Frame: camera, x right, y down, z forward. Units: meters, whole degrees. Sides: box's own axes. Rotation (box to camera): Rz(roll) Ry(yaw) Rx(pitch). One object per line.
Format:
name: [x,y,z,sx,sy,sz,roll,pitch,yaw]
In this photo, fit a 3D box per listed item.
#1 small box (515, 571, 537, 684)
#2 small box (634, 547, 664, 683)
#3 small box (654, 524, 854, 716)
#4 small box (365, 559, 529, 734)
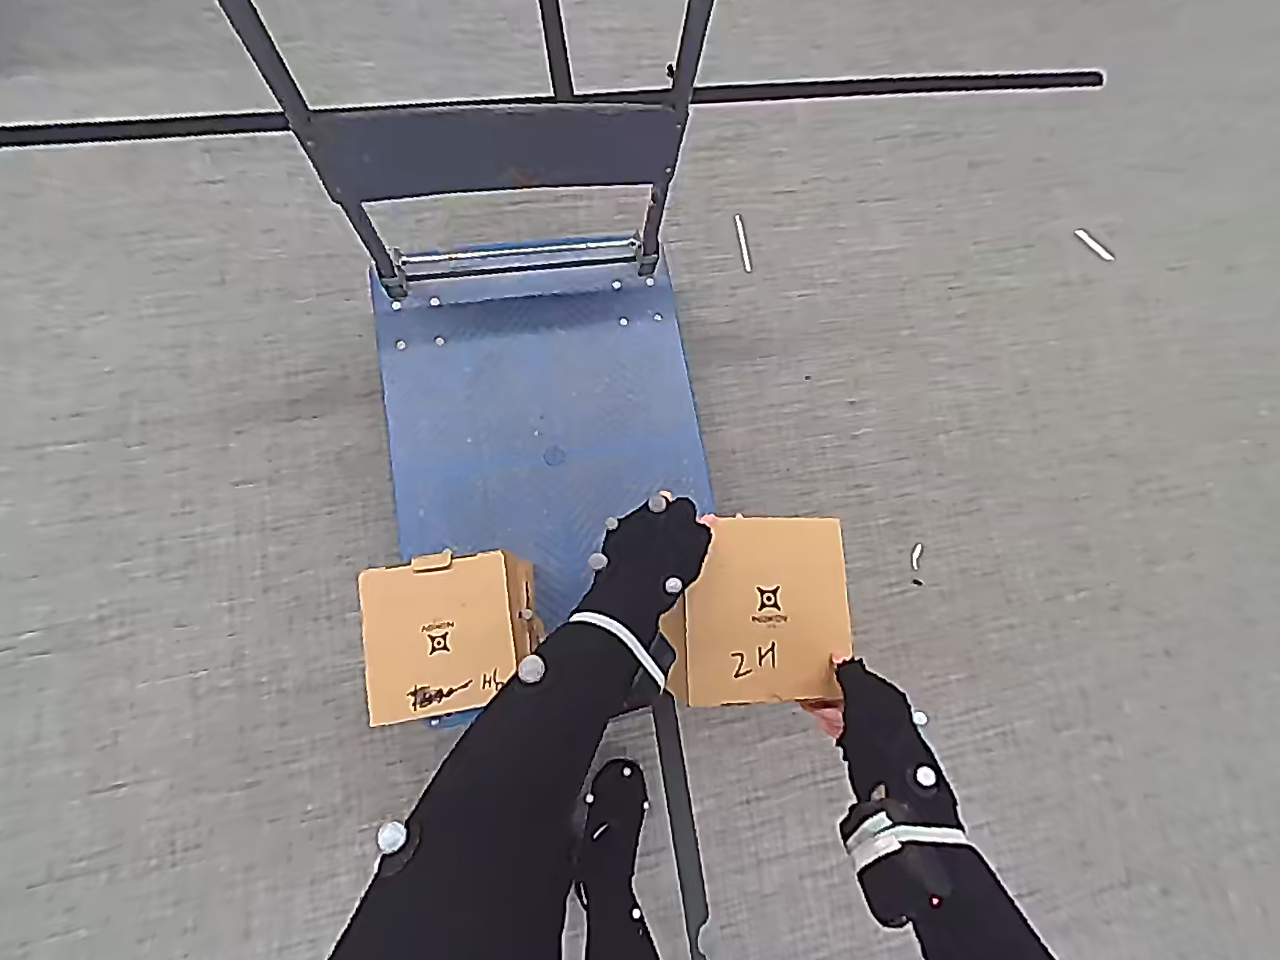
small box: [-0.257,0.234,0.861,0.179,0.176,0.168,-5,80,-8]
small box: [0.087,0.178,0.752,0.179,0.176,0.168,-3,79,-10]
small box: [0.109,0.146,0.592,0.168,0.176,0.179,1,79,-8]
small box: [-0.239,0.204,0.700,0.168,0.176,0.179,-7,80,-9]
